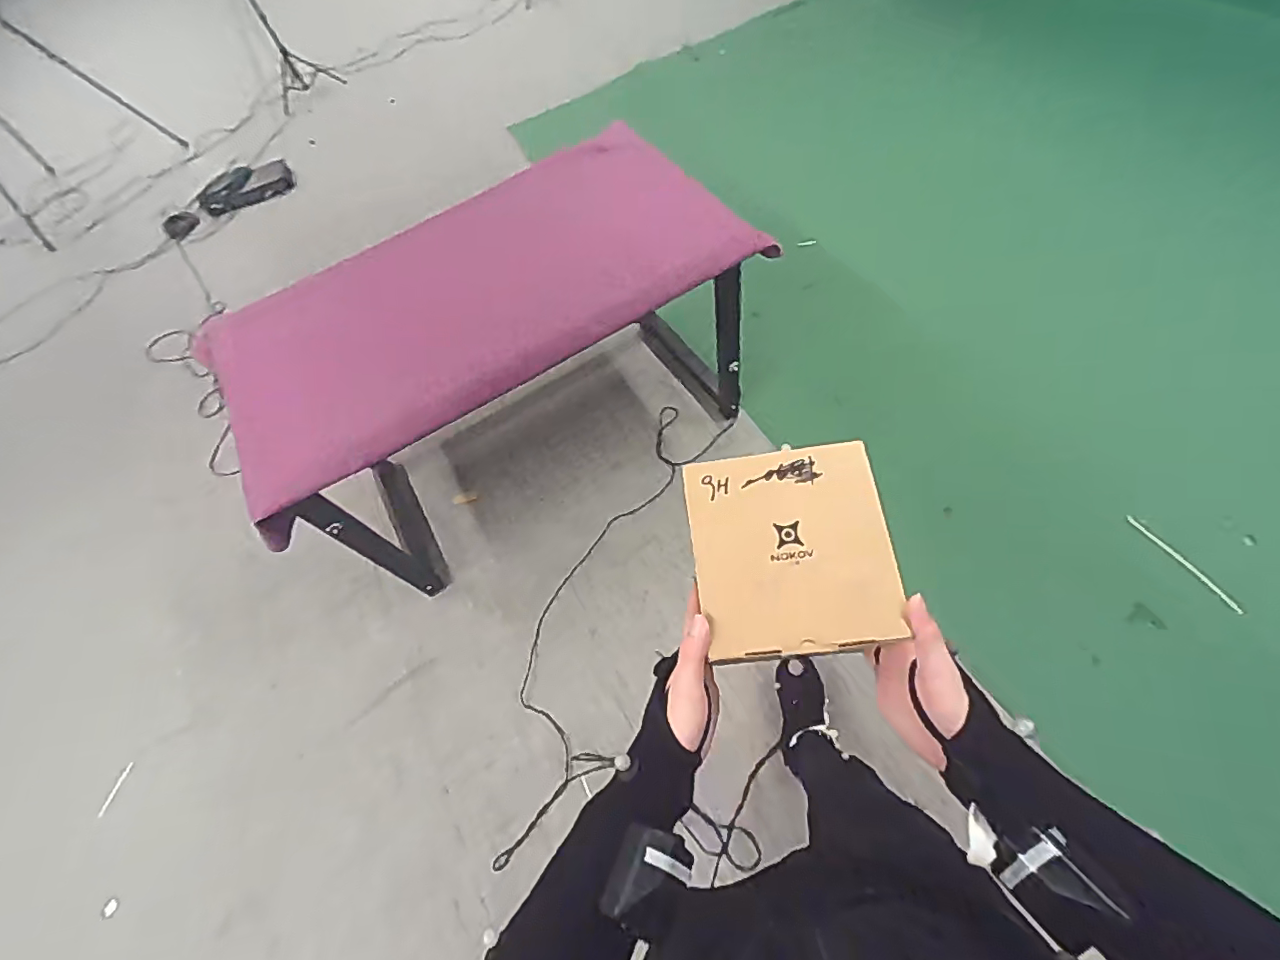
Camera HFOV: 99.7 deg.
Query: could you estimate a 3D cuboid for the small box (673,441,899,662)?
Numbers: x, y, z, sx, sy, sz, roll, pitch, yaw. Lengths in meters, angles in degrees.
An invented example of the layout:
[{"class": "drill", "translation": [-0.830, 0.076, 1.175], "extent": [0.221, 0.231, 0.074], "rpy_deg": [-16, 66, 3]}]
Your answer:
[{"class": "small box", "translation": [0.130, 0.082, 0.539], "extent": [0.168, 0.176, 0.179], "rpy_deg": [-9, 70, 5]}]
